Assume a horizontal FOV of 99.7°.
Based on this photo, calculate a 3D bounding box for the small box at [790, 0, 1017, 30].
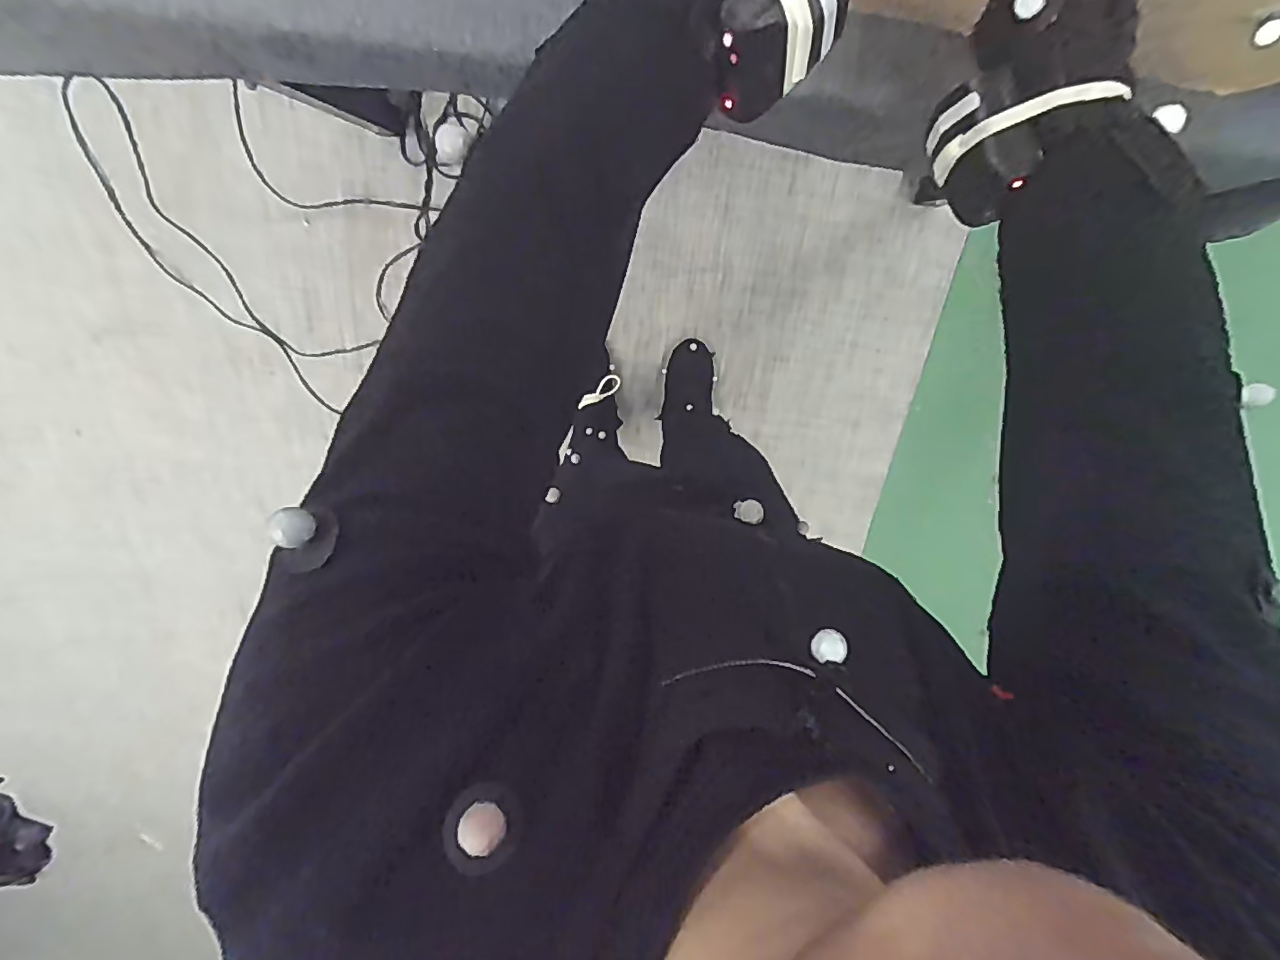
[{"bbox_3d":[0.201,-0.419,0.336,0.179,0.176,0.168,9,112,-2],"label":"small box"}]
